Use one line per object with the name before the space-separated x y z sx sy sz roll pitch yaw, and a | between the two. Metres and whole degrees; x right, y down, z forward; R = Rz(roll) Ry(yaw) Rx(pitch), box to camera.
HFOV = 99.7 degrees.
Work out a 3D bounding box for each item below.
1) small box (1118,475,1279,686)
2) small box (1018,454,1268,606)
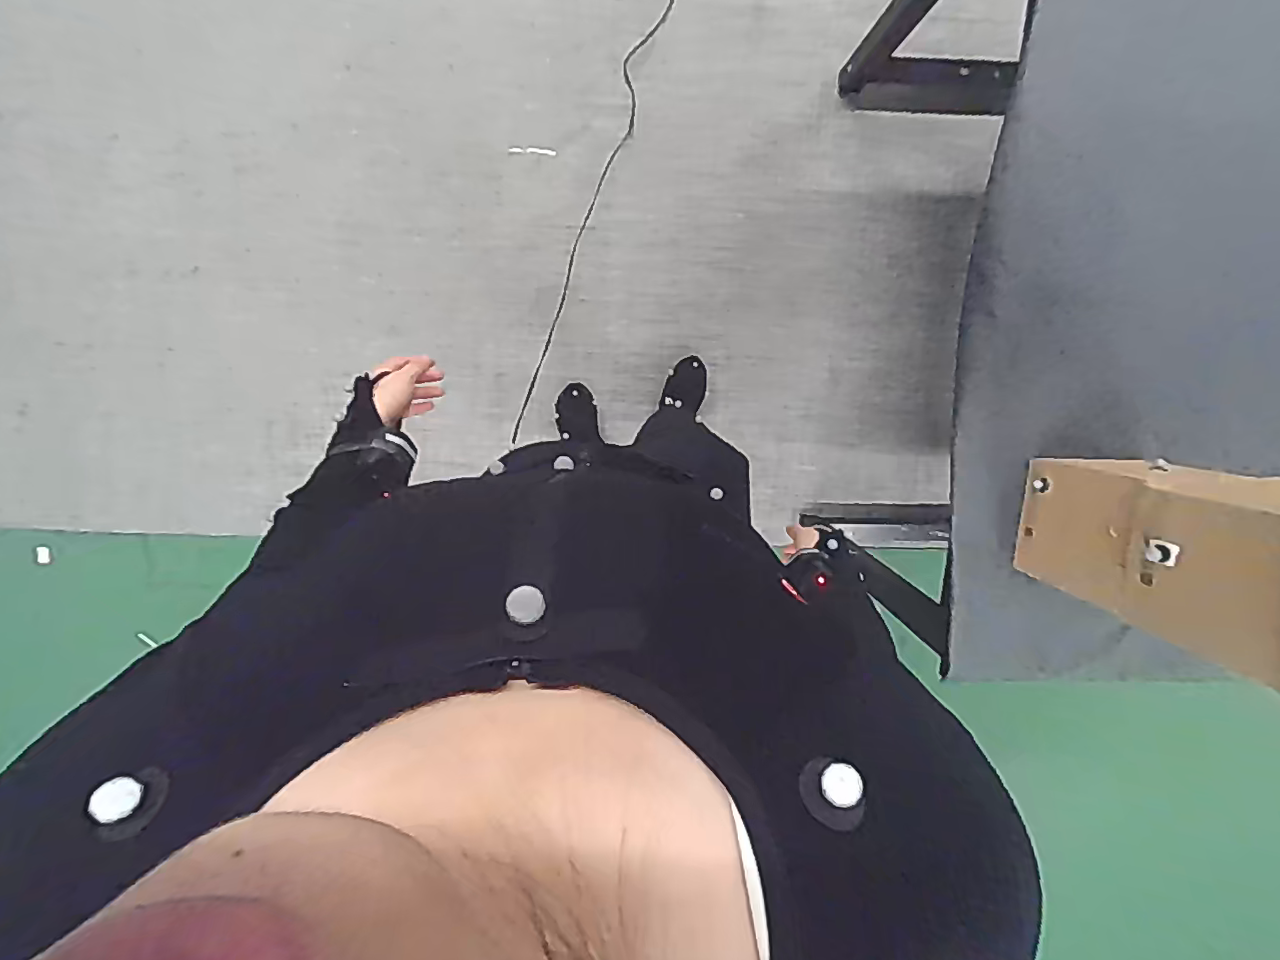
small box | 0.653 0.090 0.549 0.179 0.176 0.168 -3 100 -3
small box | 0.644 0.059 0.708 0.179 0.176 0.168 1 101 -6
